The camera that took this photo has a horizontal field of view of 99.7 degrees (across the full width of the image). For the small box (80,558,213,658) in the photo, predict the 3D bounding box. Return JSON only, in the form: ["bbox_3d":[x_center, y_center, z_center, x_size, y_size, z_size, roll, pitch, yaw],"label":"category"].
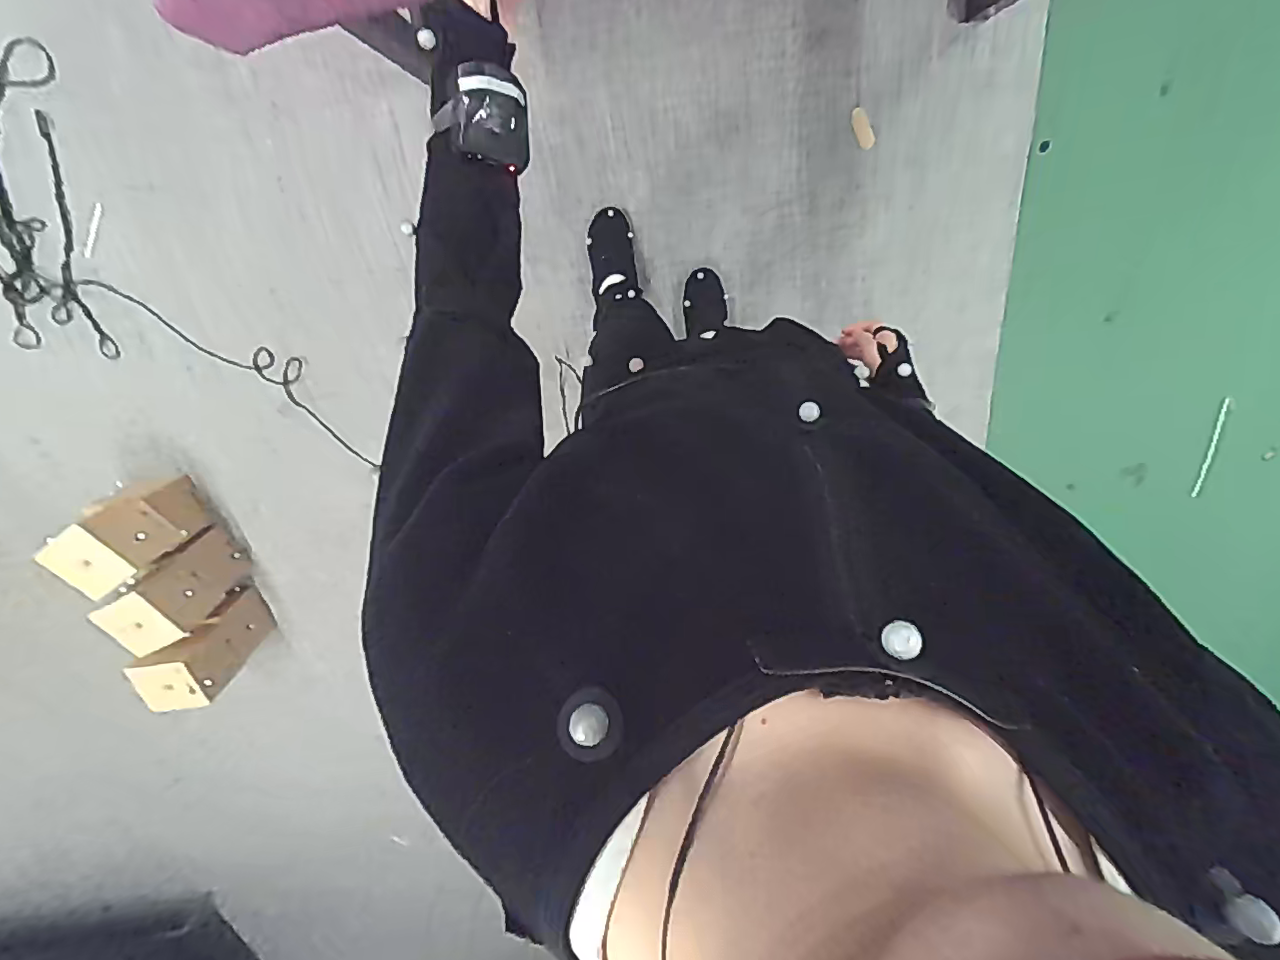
[{"bbox_3d":[-1.308,0.339,1.456,0.179,0.176,0.168,-24,114,10],"label":"small box"}]

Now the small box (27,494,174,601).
[{"bbox_3d":[-1.349,0.165,1.371,0.179,0.176,0.168,-31,112,14],"label":"small box"}]

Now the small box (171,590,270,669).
[{"bbox_3d":[-1.315,0.460,1.692,0.168,0.176,0.179,-8,116,3],"label":"small box"}]
